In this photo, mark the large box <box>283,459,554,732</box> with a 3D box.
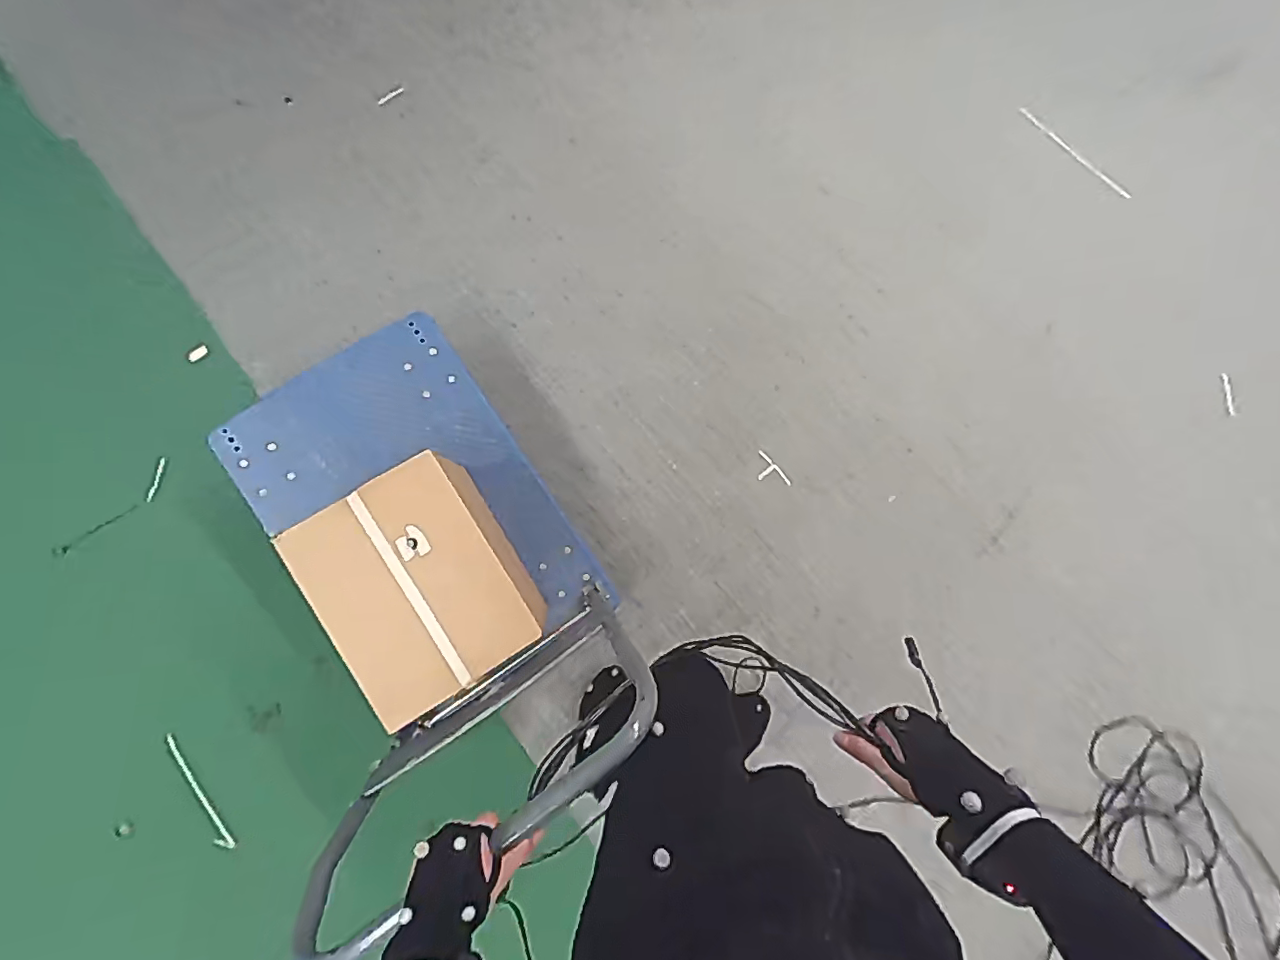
[{"bbox_3d":[-0.420,0.220,1.127,0.320,0.320,0.408,-32,88,-10],"label":"large box"}]
